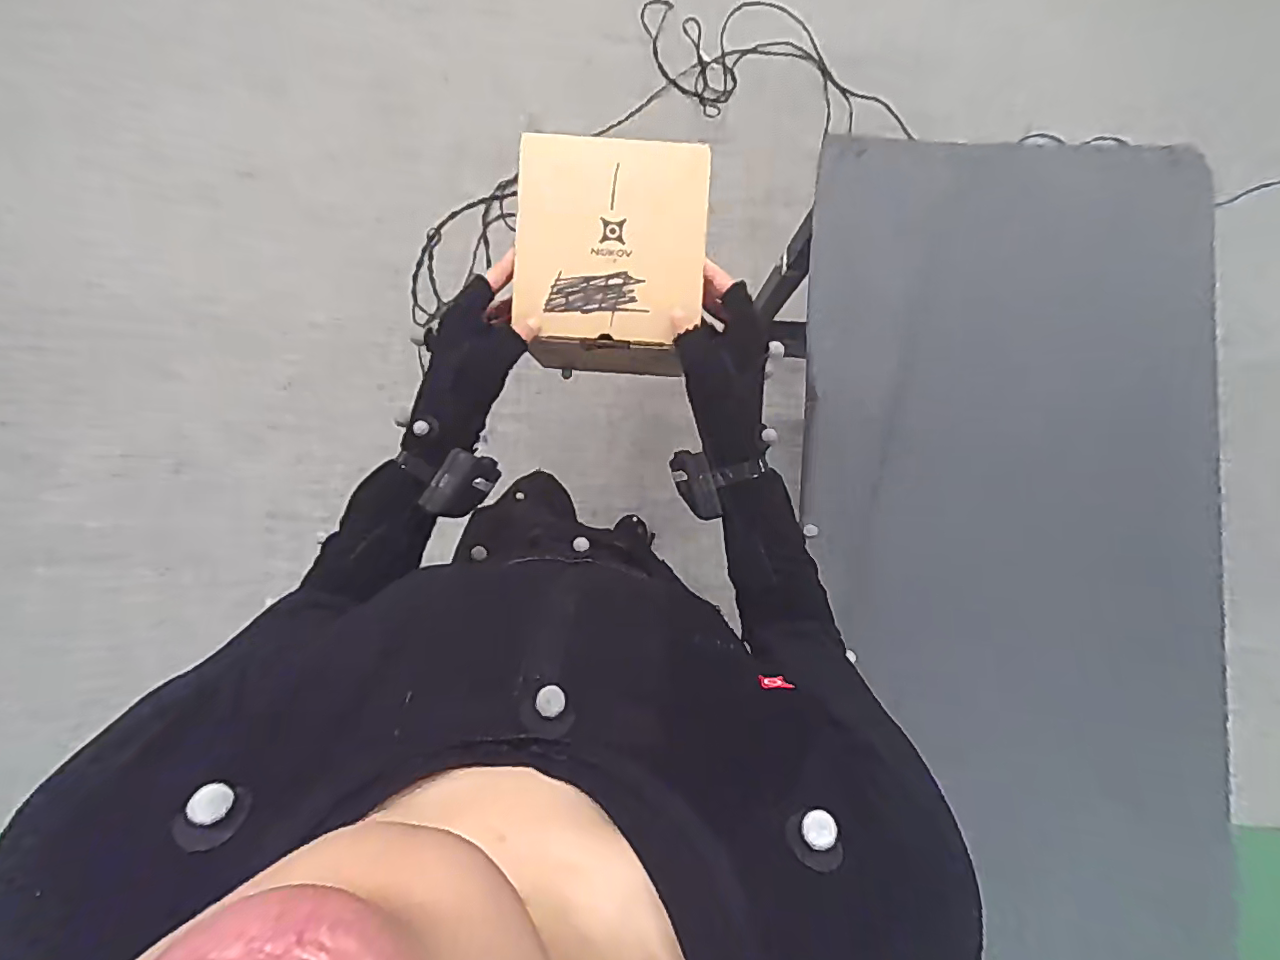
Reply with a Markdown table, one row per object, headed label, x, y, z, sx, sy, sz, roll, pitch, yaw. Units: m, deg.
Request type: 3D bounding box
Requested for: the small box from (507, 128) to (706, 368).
| label | x | y | z | sx | sy | sz | roll | pitch | yaw |
| --- | --- | --- | --- | --- | --- | --- | --- | --- | --- |
| small box | -0.030 | -0.214 | 0.547 | 0.168 | 0.176 | 0.179 | 3 | 92 | -1 |
